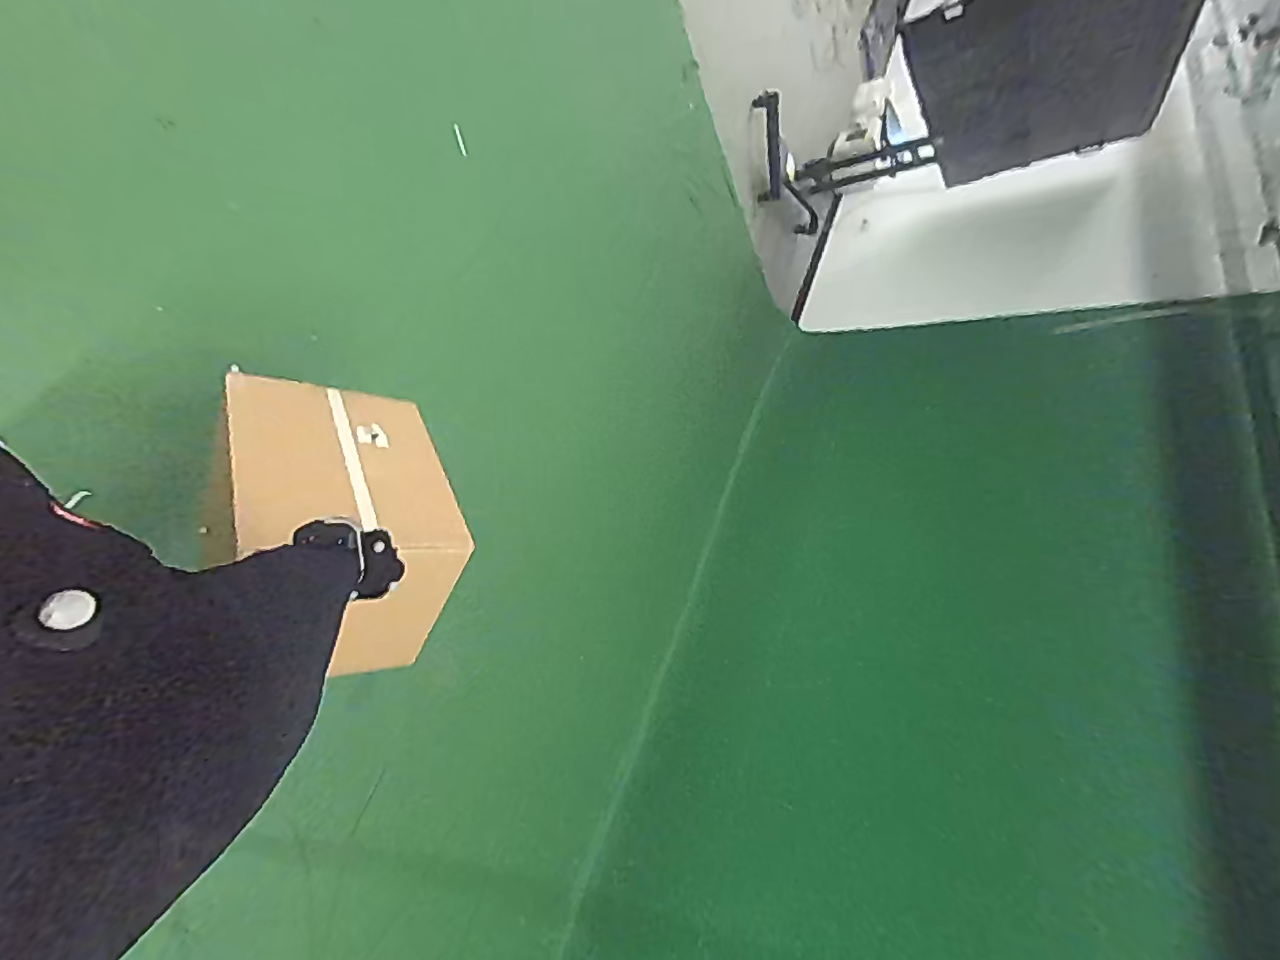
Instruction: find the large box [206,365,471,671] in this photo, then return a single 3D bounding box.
[{"bbox_3d":[-0.552,0.057,0.959,0.320,0.408,0.320,5,128,-44],"label":"large box"}]
